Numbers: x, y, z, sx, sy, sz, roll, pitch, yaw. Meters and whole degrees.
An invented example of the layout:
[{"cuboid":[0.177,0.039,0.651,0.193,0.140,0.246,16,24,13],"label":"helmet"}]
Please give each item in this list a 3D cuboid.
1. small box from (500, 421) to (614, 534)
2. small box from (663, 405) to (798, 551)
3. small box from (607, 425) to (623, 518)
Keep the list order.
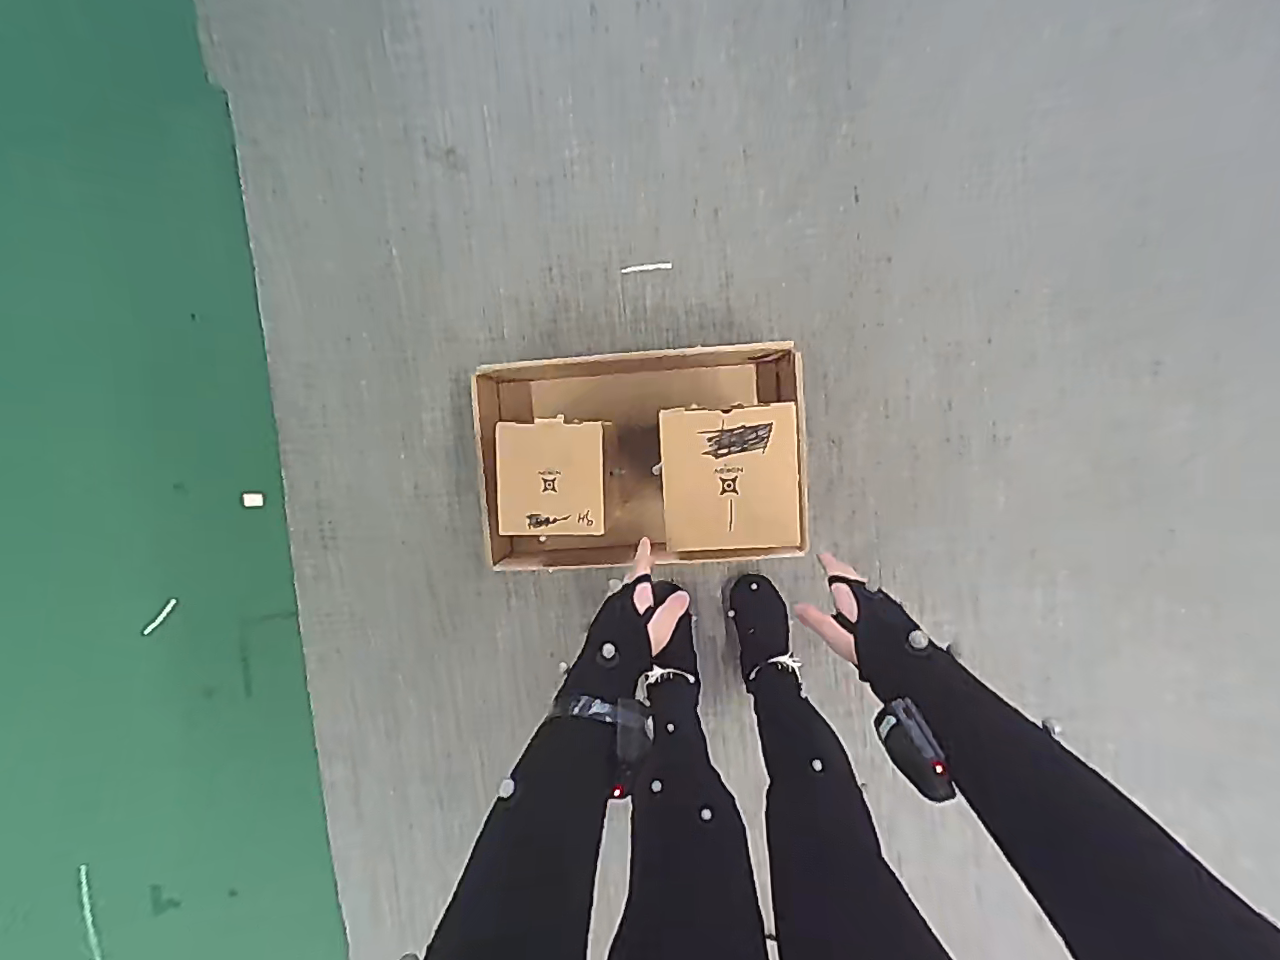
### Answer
[{"cuboid":[-0.134,-0.007,0.915,0.168,0.176,0.179,0,94,3],"label":"small box"},{"cuboid":[0.116,-0.007,0.745,0.168,0.176,0.179,-3,95,5],"label":"small box"},{"cuboid":[-0.124,-0.018,1.080,0.168,0.176,0.179,-5,94,1],"label":"small box"}]
